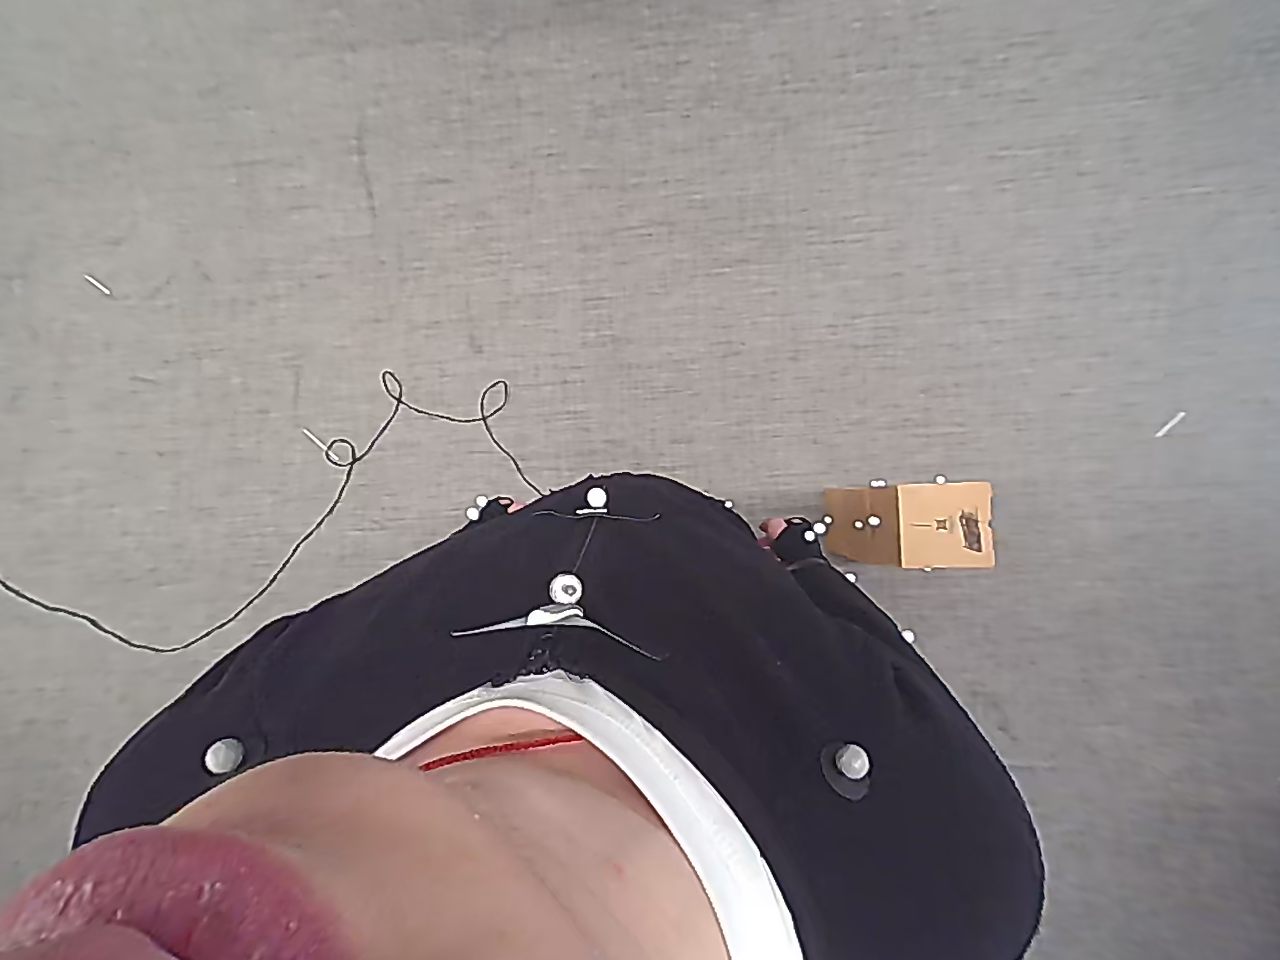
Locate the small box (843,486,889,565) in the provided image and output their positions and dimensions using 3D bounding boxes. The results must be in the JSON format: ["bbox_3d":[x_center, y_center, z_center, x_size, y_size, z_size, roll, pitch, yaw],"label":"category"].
[{"bbox_3d":[0.596,0.100,1.295,0.168,0.176,0.179,-3,91,4],"label":"small box"}]

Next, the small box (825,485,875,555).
[{"bbox_3d":[0.605,0.103,1.456,0.168,0.176,0.179,-2,90,3],"label":"small box"}]

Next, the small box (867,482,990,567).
[{"bbox_3d":[0.593,0.088,1.129,0.179,0.176,0.168,-1,88,4],"label":"small box"}]
